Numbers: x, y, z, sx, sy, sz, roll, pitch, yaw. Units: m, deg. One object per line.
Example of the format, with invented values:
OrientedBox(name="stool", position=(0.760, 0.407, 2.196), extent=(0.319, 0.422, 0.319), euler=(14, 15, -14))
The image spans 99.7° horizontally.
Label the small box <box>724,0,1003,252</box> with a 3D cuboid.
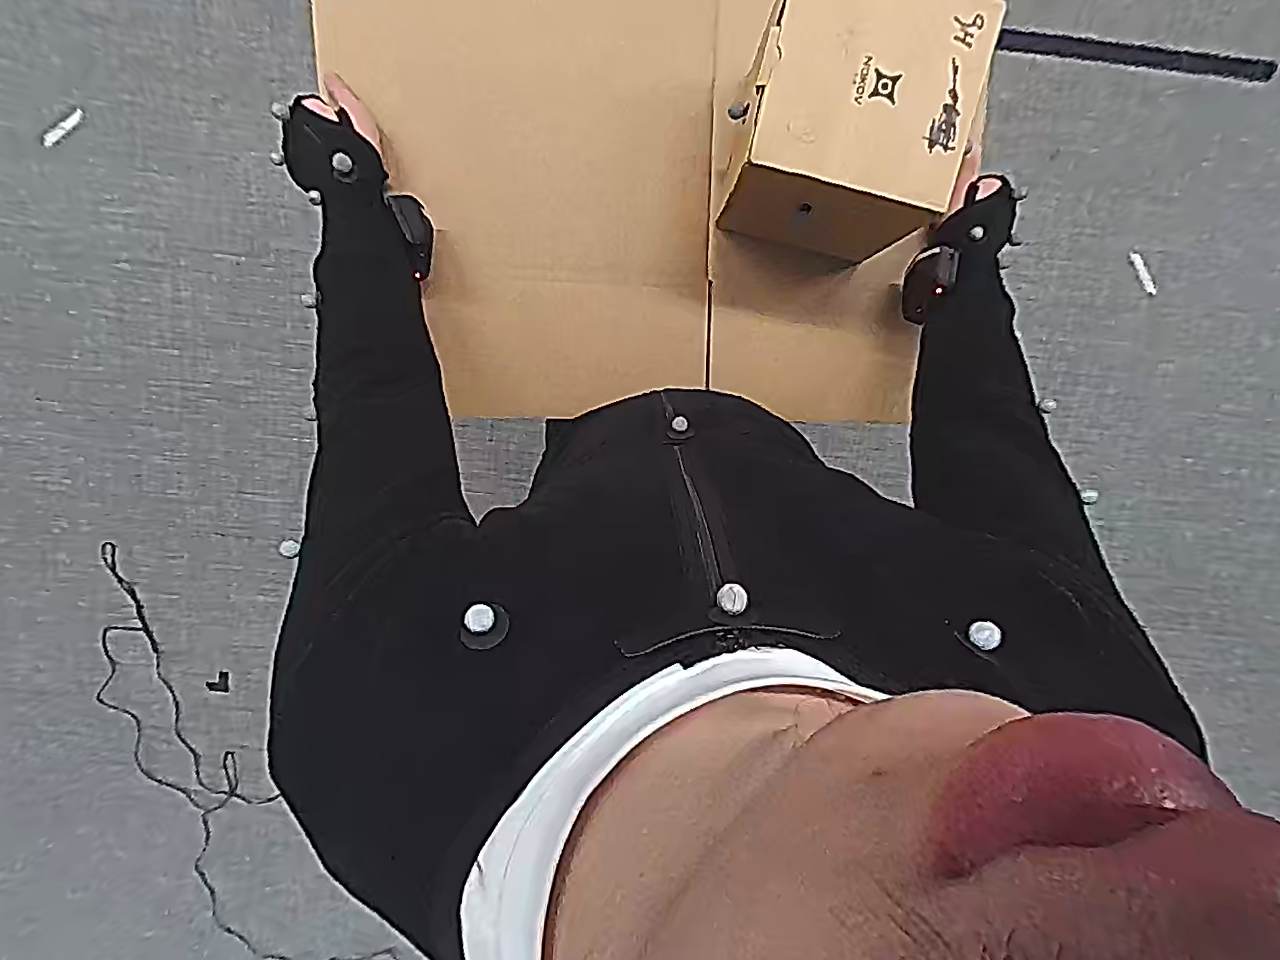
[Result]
OrientedBox(name="small box", position=(0.190, -0.339, 0.521), extent=(0.179, 0.176, 0.168), euler=(13, 98, -2))
